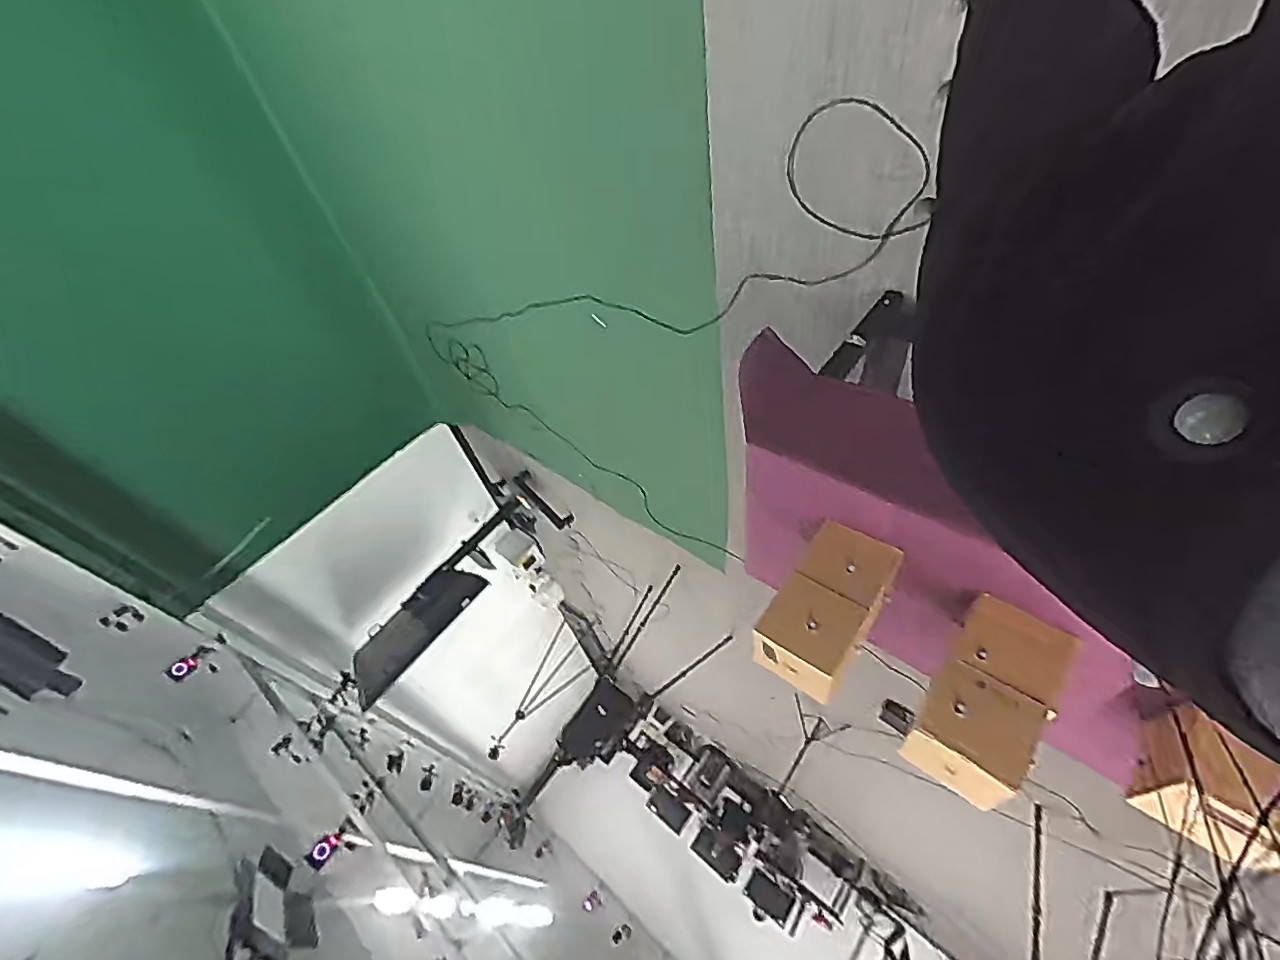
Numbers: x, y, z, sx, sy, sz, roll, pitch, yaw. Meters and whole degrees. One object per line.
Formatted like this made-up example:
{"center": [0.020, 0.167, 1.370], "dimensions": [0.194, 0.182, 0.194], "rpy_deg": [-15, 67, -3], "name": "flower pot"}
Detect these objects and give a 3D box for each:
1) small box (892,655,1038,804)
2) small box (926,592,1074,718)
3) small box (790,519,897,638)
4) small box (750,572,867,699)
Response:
{"center": [0.602, 0.458, 1.005], "dimensions": [0.168, 0.176, 0.179], "rpy_deg": [30, 152, 30], "name": "small box"}
{"center": [0.710, 0.355, 1.071], "dimensions": [0.179, 0.176, 0.168], "rpy_deg": [30, 152, 29], "name": "small box"}
{"center": [0.455, 0.215, 1.222], "dimensions": [0.179, 0.176, 0.168], "rpy_deg": [26, 150, 31], "name": "small box"}
{"center": [0.352, 0.321, 1.149], "dimensions": [0.179, 0.176, 0.168], "rpy_deg": [27, 151, 30], "name": "small box"}
